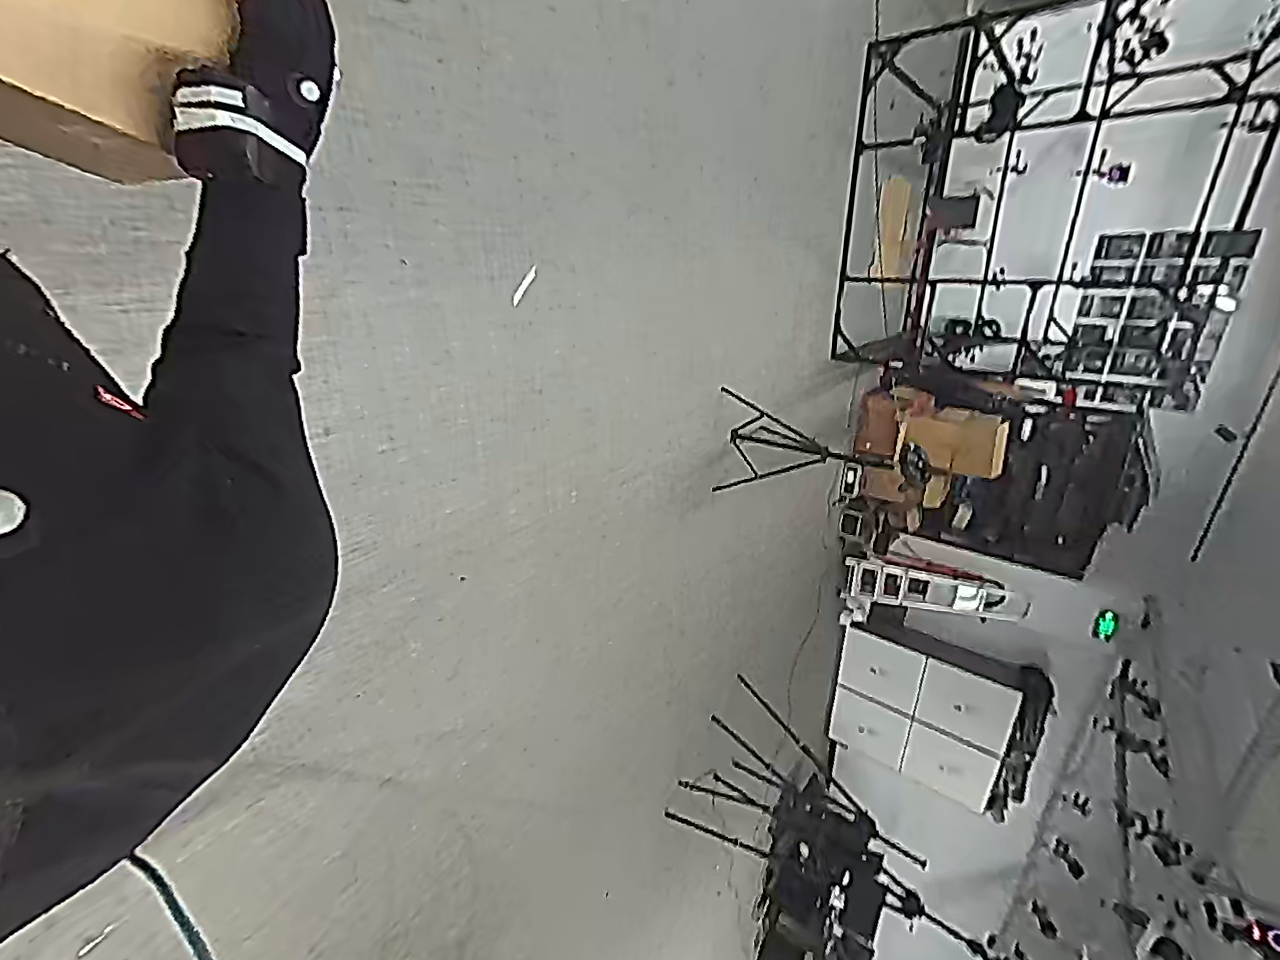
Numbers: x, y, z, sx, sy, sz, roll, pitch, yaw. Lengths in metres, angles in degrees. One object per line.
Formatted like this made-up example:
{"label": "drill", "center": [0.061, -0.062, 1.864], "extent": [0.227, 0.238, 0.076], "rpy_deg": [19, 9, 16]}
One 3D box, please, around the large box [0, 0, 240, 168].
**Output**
{"label": "large box", "center": [-0.530, -0.448, 0.327], "extent": [0.408, 0.320, 0.320], "rpy_deg": [3, 104, -57]}
